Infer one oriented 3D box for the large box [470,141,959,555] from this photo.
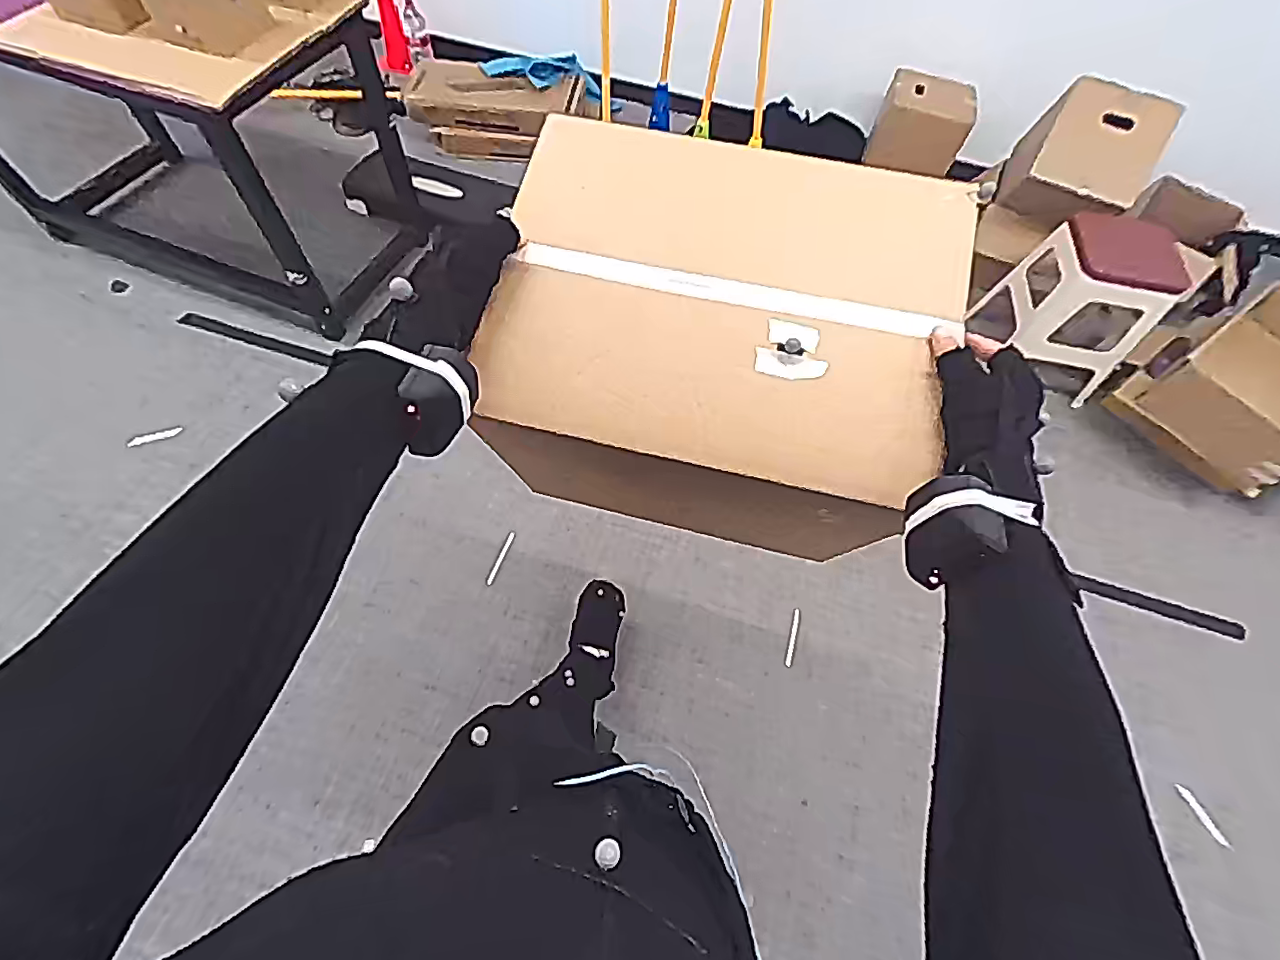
[{"bbox_3d":[0.078,-0.120,0.635,0.408,0.320,0.320,13,77,5],"label":"large box"}]
